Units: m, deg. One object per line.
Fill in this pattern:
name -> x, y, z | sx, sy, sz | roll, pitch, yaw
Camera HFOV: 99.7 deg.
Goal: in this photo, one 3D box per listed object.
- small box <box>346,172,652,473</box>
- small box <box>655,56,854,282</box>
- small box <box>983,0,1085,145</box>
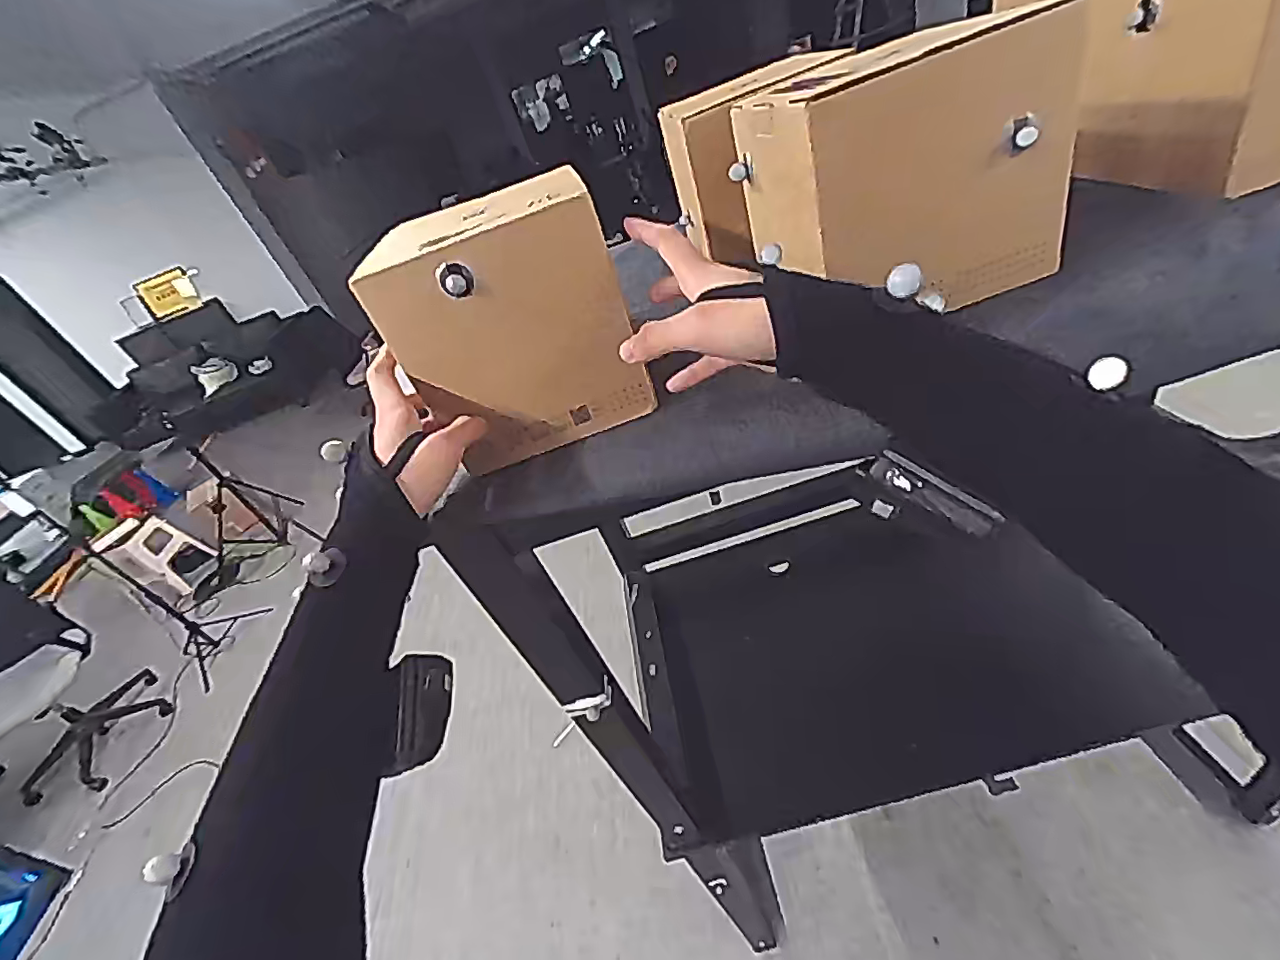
small box -> -0.101, -0.134, 0.455 | 0.168, 0.176, 0.179 | -20, 35, 3
small box -> 0.132, -0.356, 0.624 | 0.179, 0.176, 0.168 | -18, 36, 6
small box -> 0.509, -0.486, 0.587 | 0.168, 0.176, 0.179 | -19, 36, 3
